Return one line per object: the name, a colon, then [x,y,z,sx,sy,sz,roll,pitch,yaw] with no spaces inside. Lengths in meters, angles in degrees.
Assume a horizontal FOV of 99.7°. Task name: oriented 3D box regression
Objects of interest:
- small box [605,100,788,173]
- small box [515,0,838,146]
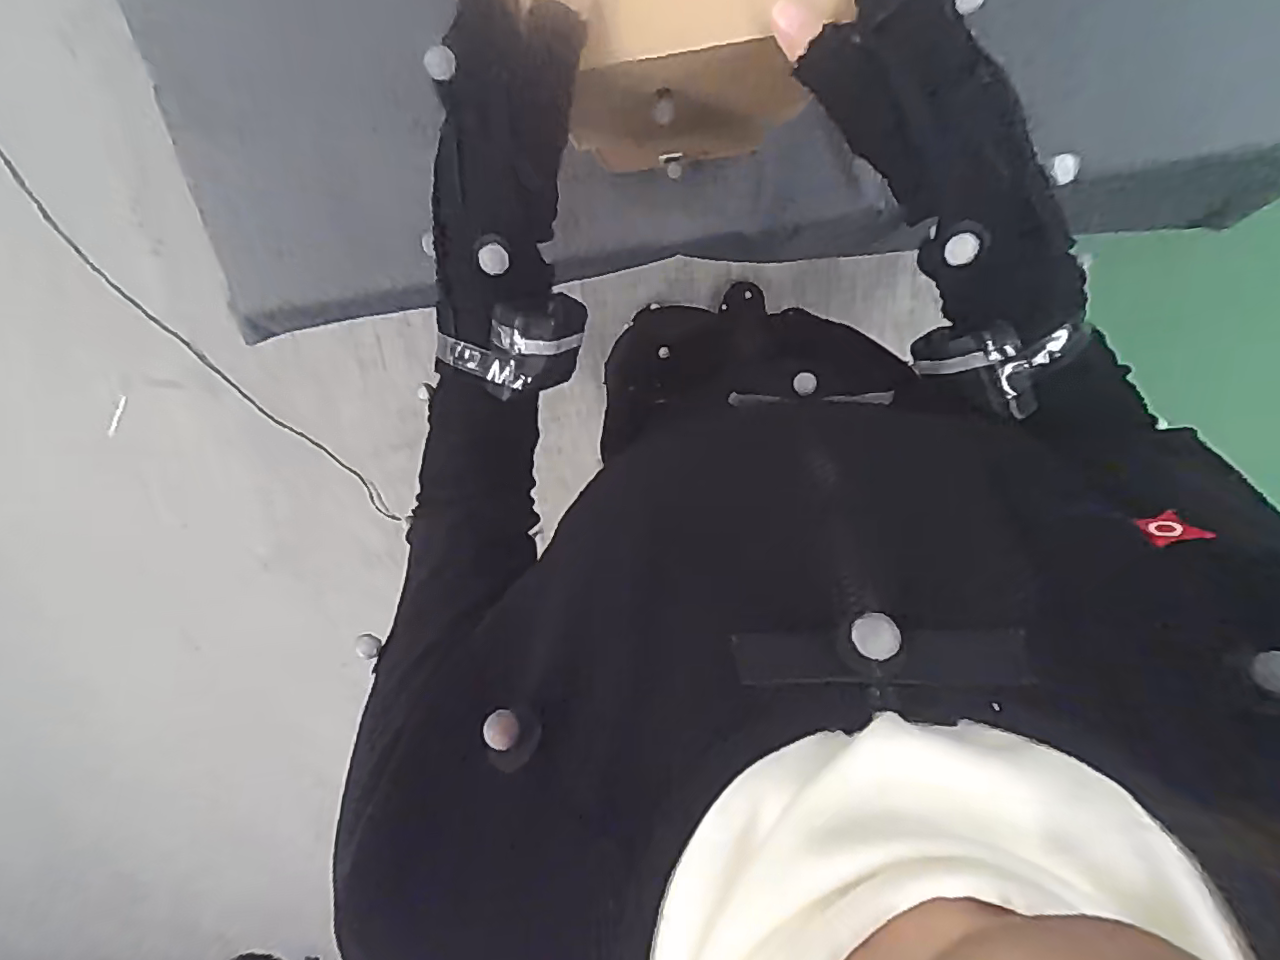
small box: [0.031,-0.397,0.476,0.168,0.176,0.179,-8,109,8]
small box: [0.020,-0.330,0.328,0.179,0.176,0.168,-8,106,7]
